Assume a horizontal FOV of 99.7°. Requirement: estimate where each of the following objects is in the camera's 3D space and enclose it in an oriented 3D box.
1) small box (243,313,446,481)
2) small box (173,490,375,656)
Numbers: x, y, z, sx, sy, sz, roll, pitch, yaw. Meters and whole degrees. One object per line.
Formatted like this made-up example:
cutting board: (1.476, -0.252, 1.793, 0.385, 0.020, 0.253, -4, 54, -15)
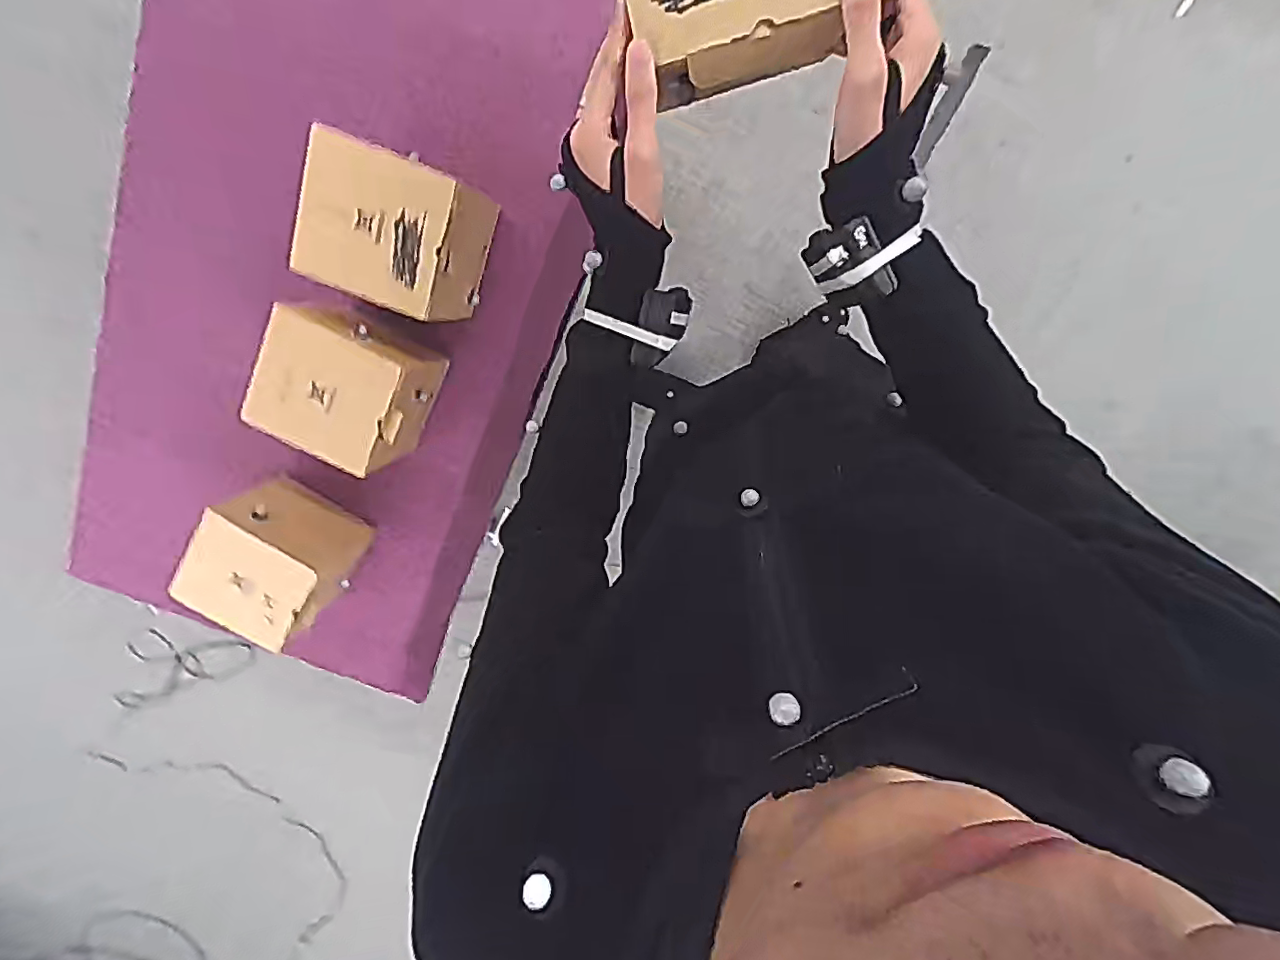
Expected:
small box: (-0.408, -0.127, 0.776, 0.179, 0.176, 0.168, 27, 105, -6)
small box: (-0.567, 0.134, 0.860, 0.179, 0.176, 0.168, 33, 106, -9)
